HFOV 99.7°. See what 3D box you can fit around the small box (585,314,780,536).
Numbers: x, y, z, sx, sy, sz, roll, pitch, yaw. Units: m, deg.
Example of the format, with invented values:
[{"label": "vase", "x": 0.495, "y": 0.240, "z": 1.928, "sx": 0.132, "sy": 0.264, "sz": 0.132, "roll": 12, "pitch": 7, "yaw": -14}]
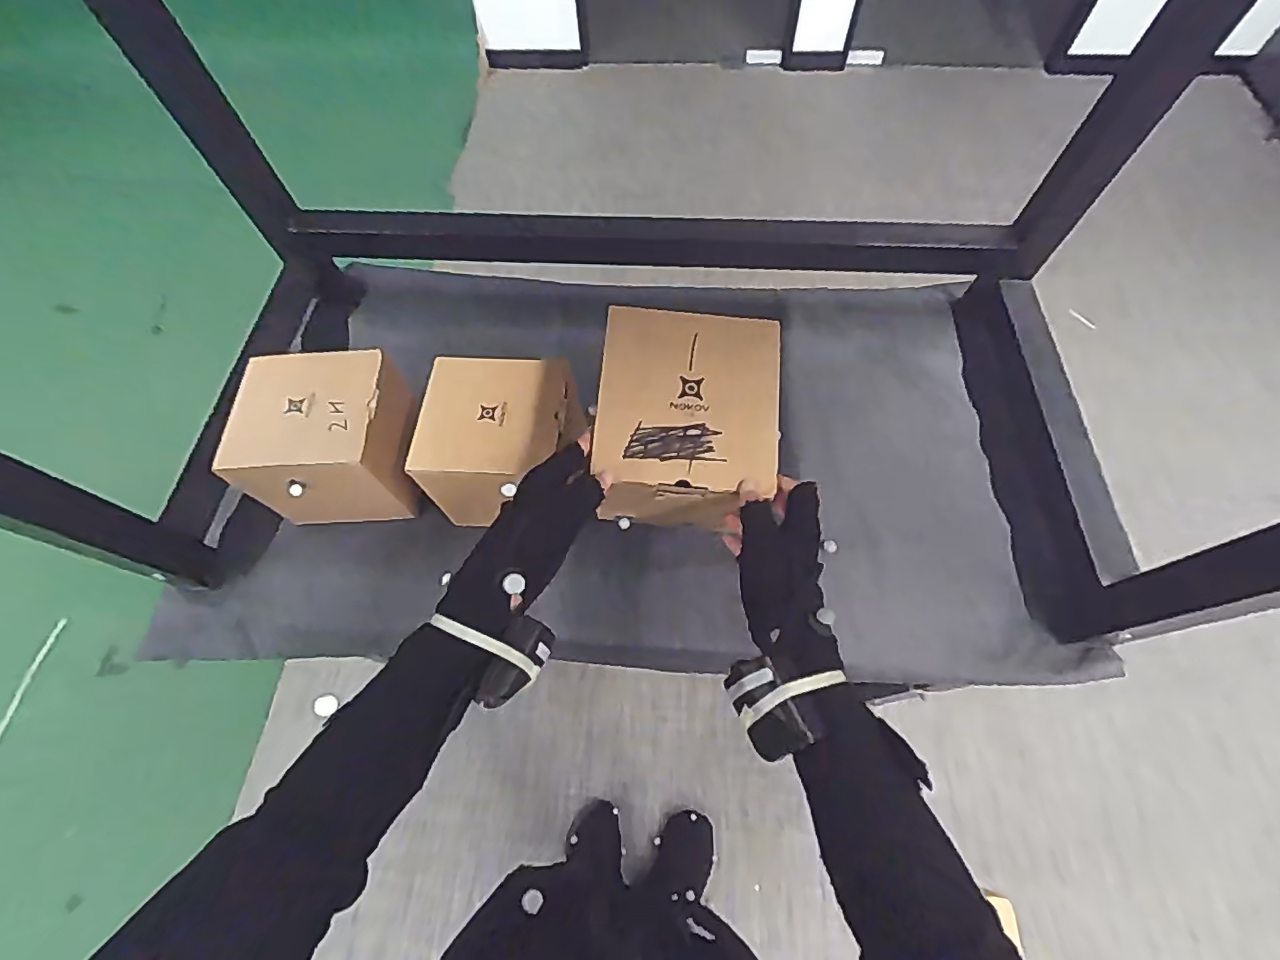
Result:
[{"label": "small box", "x": 0.041, "y": -0.045, "z": 0.564, "sx": 0.168, "sy": 0.176, "sz": 0.179, "roll": 6, "pitch": 73, "yaw": 0}]
